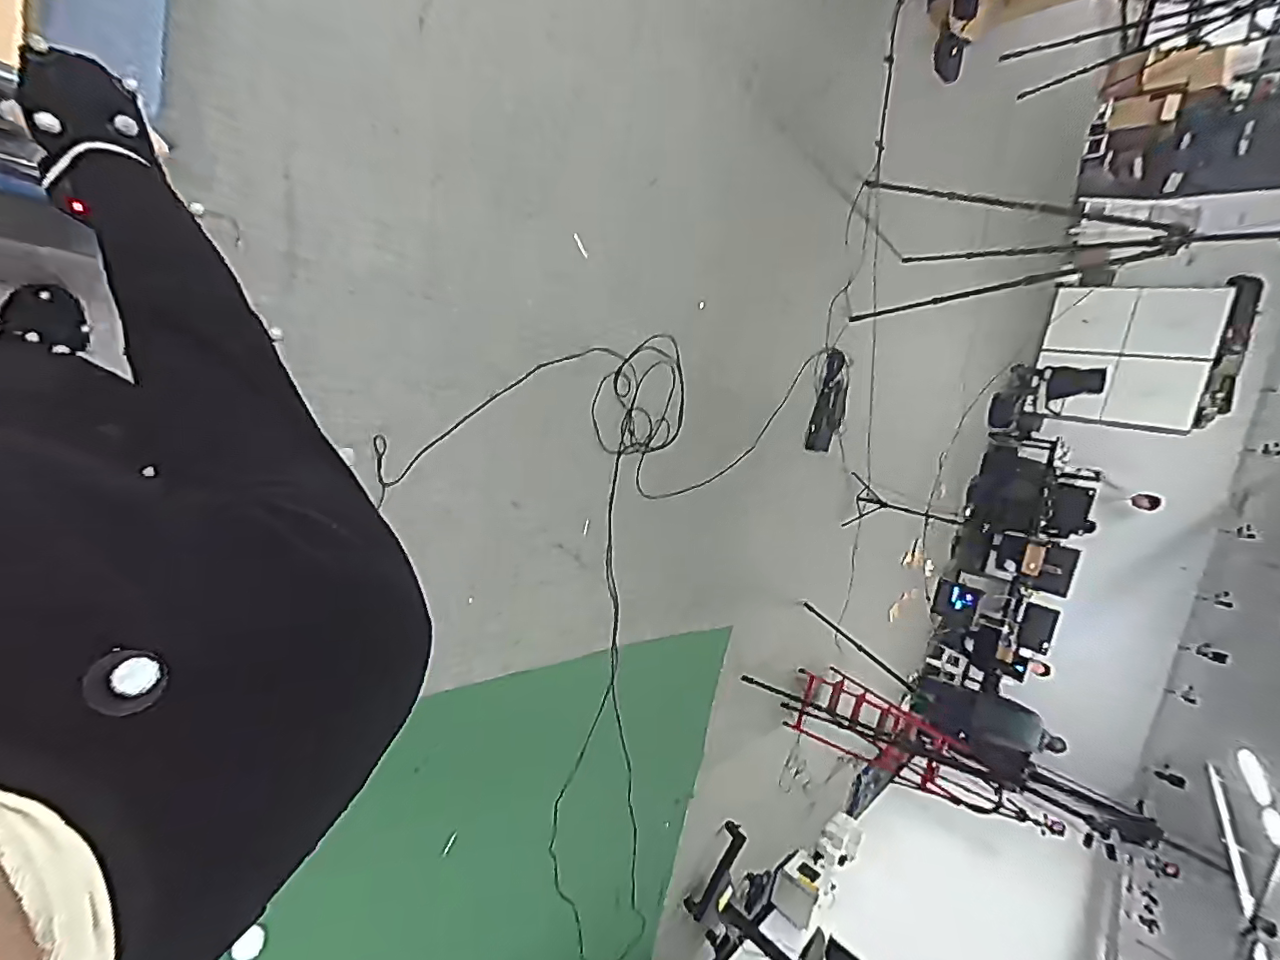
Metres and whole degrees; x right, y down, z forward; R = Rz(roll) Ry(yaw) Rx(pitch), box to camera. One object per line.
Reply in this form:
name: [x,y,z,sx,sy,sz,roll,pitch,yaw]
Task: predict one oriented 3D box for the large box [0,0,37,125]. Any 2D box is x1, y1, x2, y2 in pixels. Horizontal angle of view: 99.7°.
large box: [-0.986,-0.750,0.668,0.320,0.320,0.408,2,101,-47]
